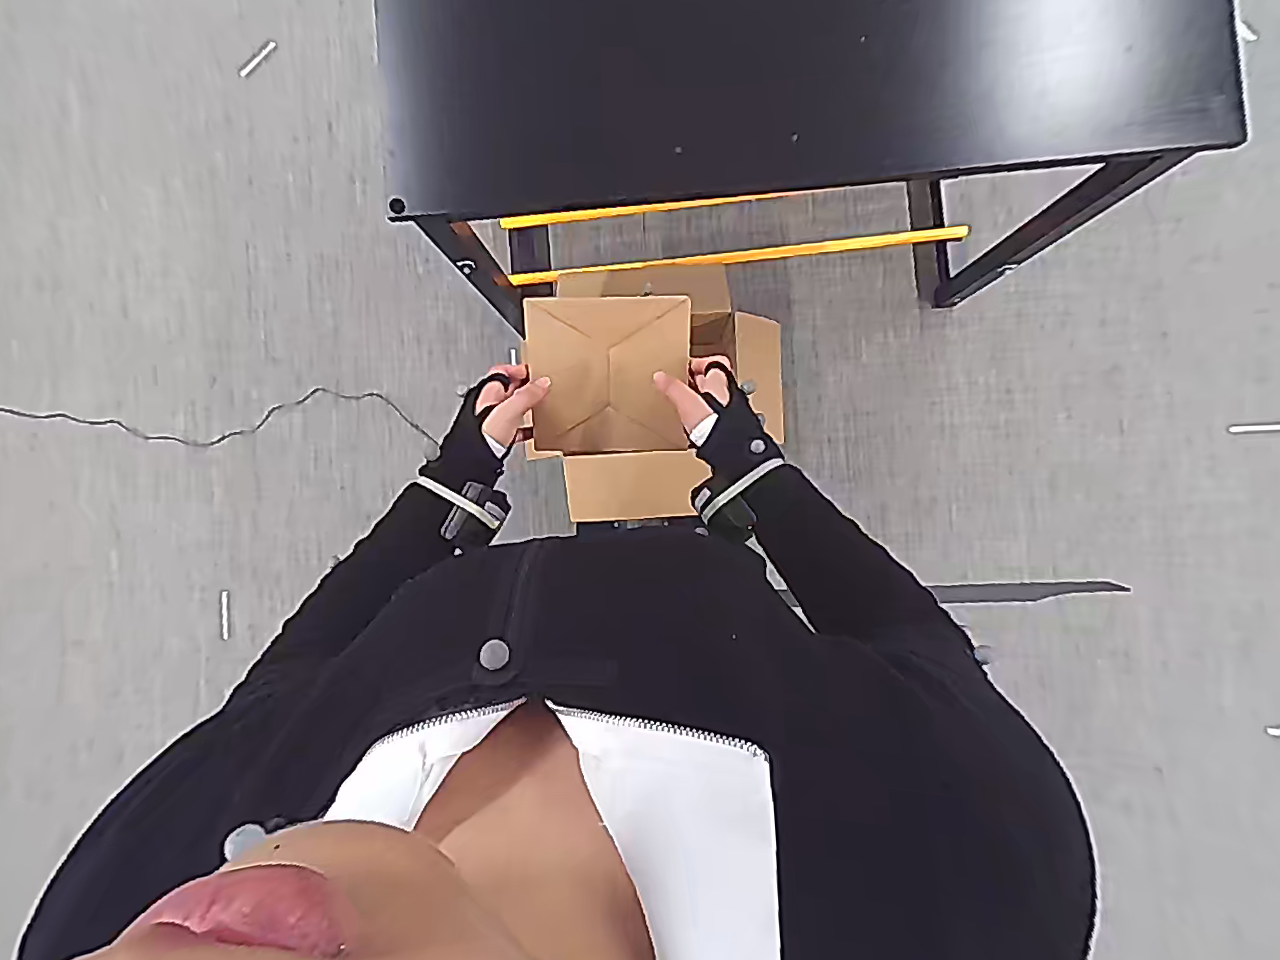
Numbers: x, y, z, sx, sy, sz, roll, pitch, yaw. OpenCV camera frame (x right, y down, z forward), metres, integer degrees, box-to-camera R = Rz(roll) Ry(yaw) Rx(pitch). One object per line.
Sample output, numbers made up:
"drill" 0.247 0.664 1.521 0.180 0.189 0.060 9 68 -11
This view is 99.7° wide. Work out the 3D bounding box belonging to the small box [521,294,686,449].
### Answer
"small box" -0.033 -0.138 0.662 0.179 0.176 0.168 -1 108 2
